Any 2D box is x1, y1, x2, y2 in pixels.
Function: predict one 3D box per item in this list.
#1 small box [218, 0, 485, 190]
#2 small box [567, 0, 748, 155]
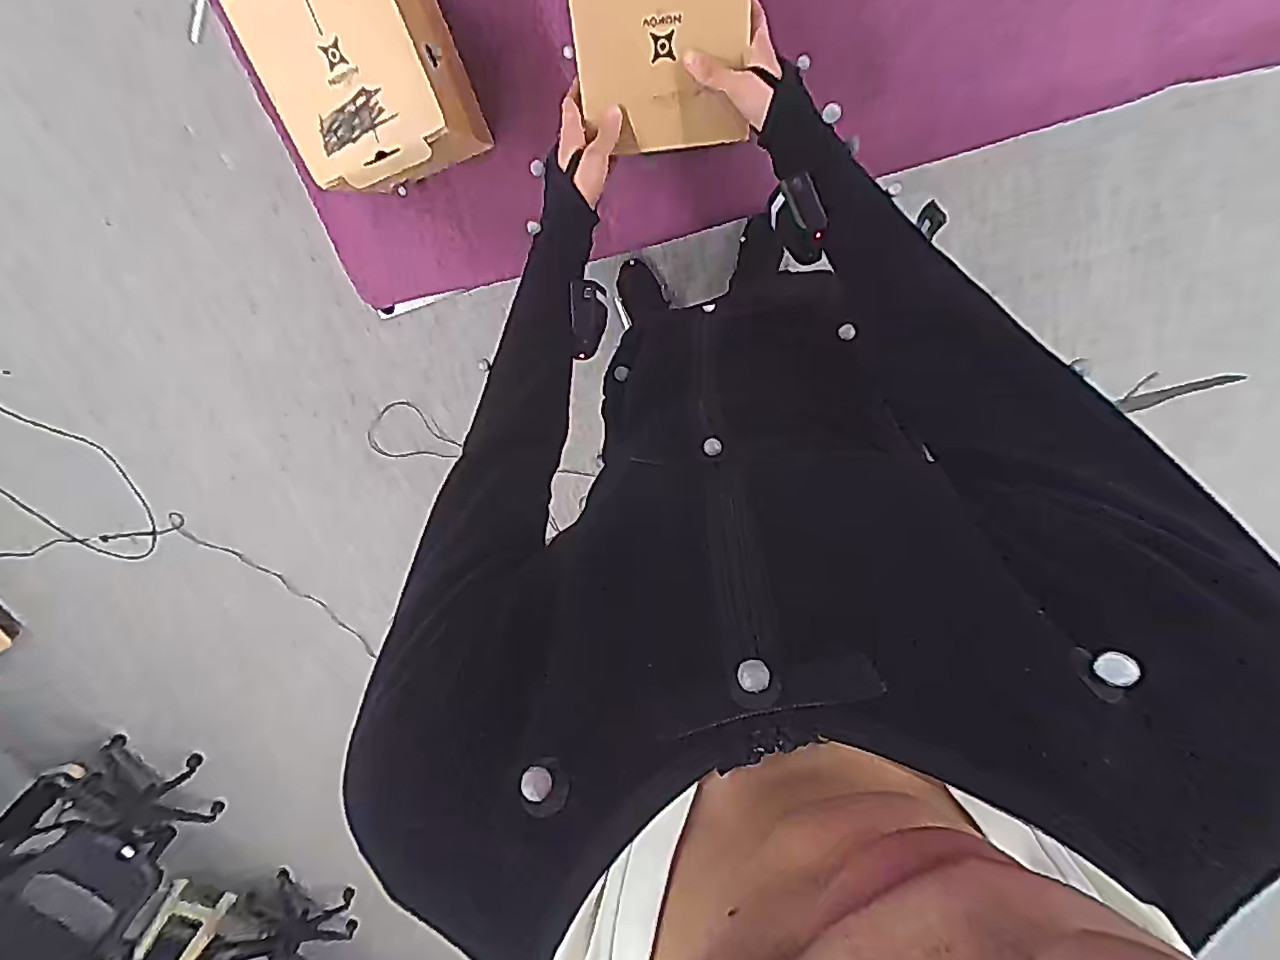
[{"bbox_3d":[-0.302,-0.451,0.614,0.168,0.176,0.179,-17,114,11],"label":"small box"},{"bbox_3d":[0.015,-0.449,0.565,0.168,0.176,0.179,-5,123,2],"label":"small box"}]
